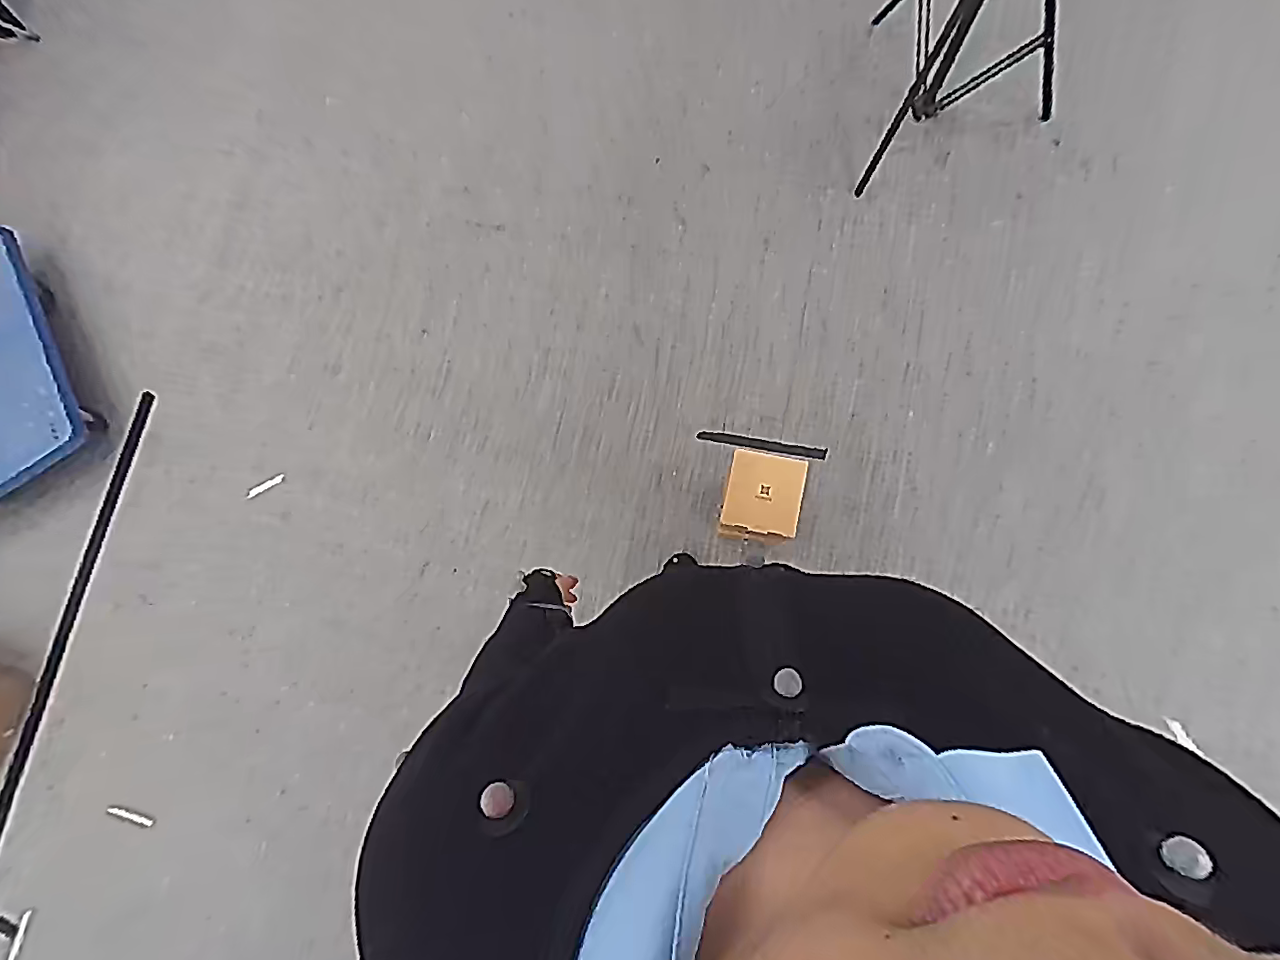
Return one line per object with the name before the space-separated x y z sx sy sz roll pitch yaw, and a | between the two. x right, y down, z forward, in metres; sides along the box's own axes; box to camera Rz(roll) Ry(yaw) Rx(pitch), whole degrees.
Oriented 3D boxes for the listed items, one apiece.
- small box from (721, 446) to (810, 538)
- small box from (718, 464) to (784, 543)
small box | 0.286 0.034 1.267 0.168 0.176 0.179 11 83 9
small box | 0.299 0.068 1.427 0.168 0.176 0.179 9 82 8
